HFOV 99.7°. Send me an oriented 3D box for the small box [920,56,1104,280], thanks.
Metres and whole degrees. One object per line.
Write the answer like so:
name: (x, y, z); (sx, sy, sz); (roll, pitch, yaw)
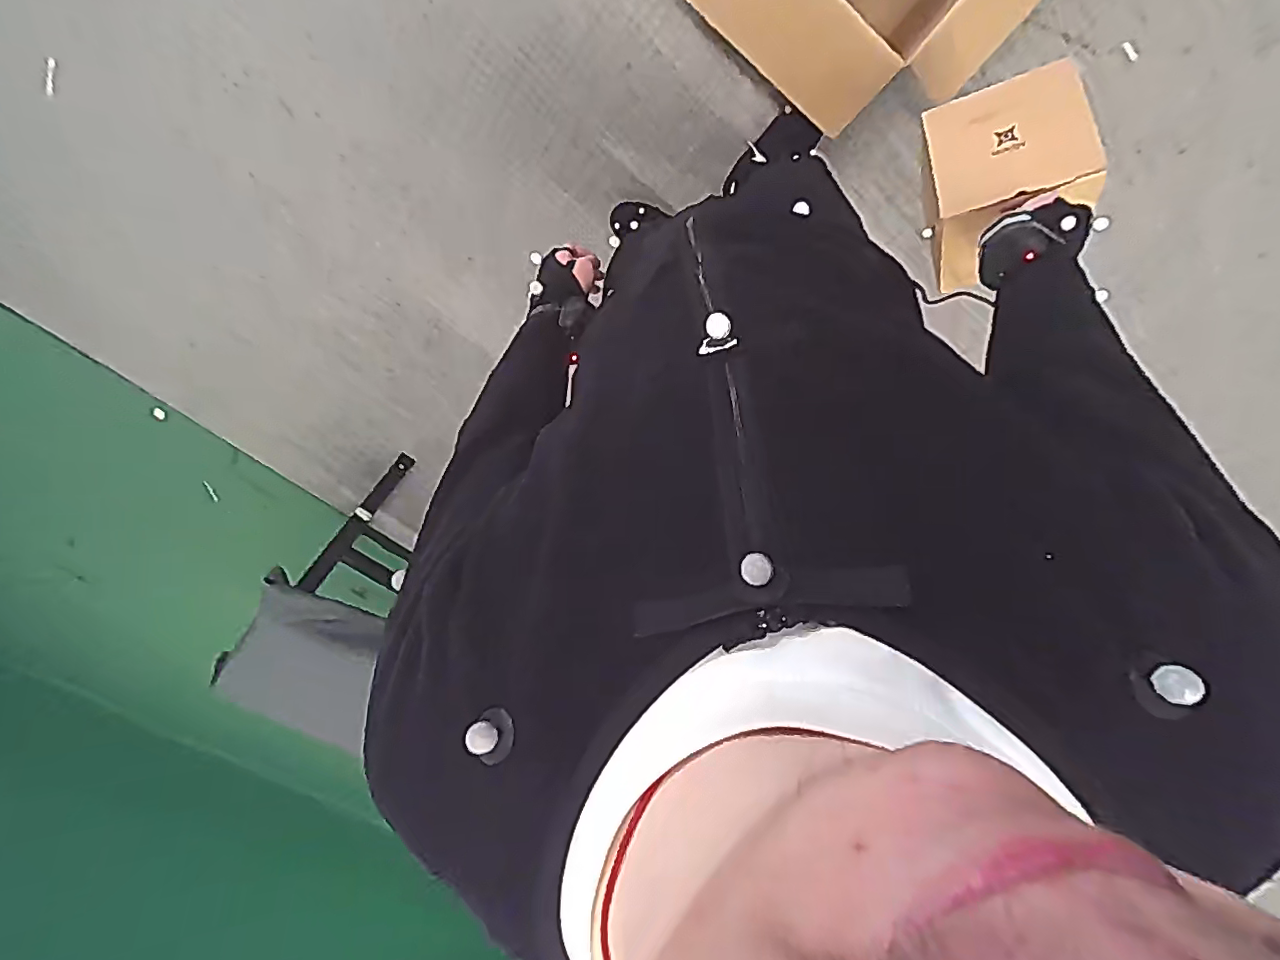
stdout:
small box: (0.477, -0.393, 0.721); (0.168, 0.179, 0.176); (-7, 161, 24)
